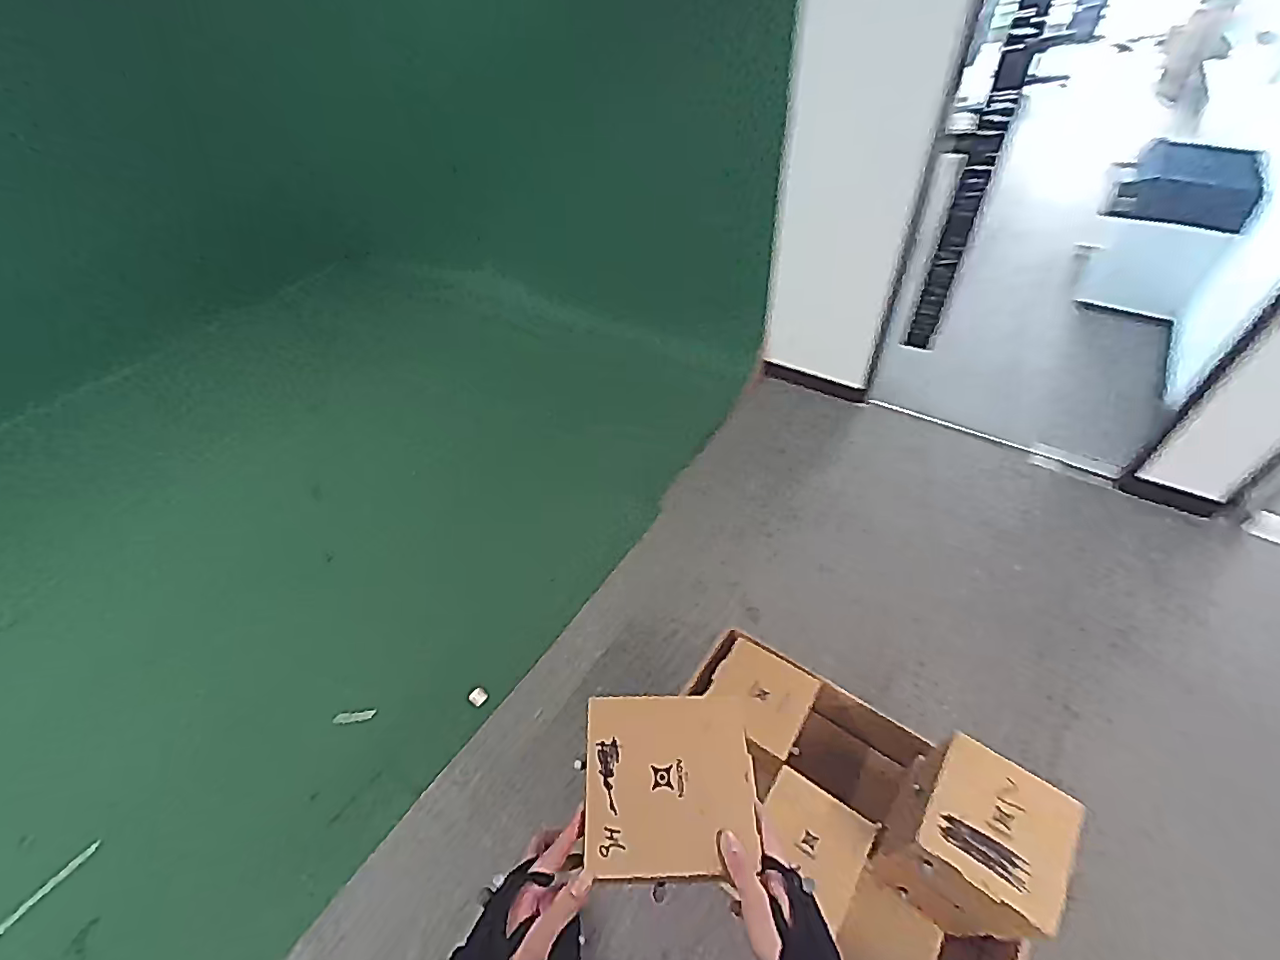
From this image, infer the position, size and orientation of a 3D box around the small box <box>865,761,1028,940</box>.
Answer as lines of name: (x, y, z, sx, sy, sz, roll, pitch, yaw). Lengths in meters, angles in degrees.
small box: (0.500, 0.615, 0.902, 0.168, 0.176, 0.179, 28, 58, 27)

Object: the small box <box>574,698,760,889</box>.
small box: (0.018, 0.359, 0.616, 0.179, 0.176, 0.168, 3, 51, -6)
